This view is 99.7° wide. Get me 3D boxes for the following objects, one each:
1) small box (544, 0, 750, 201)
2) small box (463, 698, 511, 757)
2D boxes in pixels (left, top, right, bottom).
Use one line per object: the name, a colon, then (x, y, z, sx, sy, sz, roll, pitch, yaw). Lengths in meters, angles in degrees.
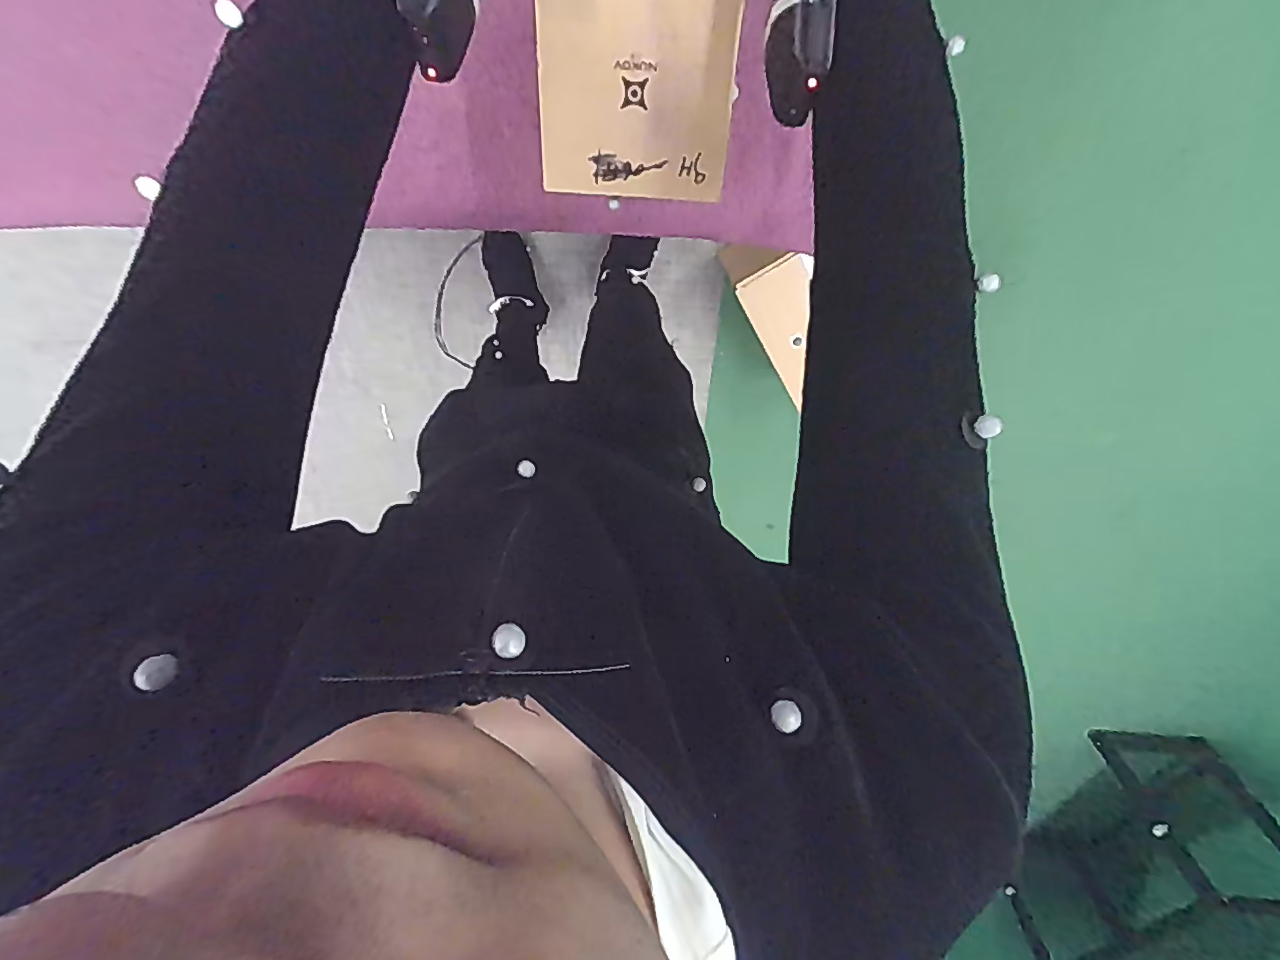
small box: (0.004, -0.379, 0.518, 0.168, 0.176, 0.179, 4, 123, 0)
small box: (-0.683, 1.116, 2.438, 0.168, 0.176, 0.179, 8, 124, 0)
